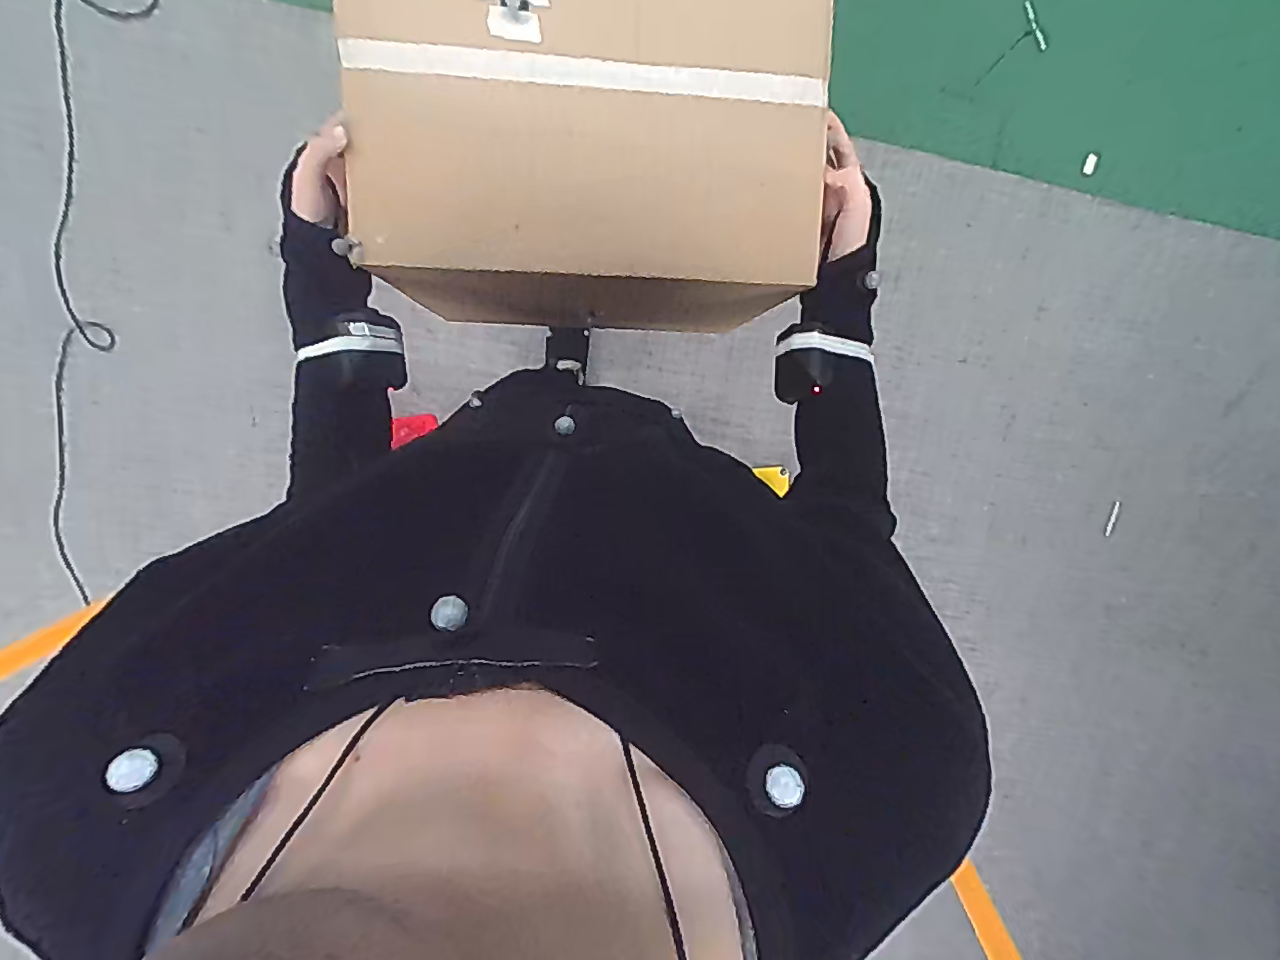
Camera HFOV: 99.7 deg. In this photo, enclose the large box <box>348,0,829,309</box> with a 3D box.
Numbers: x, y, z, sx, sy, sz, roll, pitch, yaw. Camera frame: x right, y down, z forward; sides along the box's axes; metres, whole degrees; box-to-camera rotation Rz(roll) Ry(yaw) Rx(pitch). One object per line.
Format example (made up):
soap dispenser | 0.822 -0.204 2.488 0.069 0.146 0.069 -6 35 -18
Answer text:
large box | -0.049 -0.371 0.601 0.408 0.320 0.320 1 99 -6
